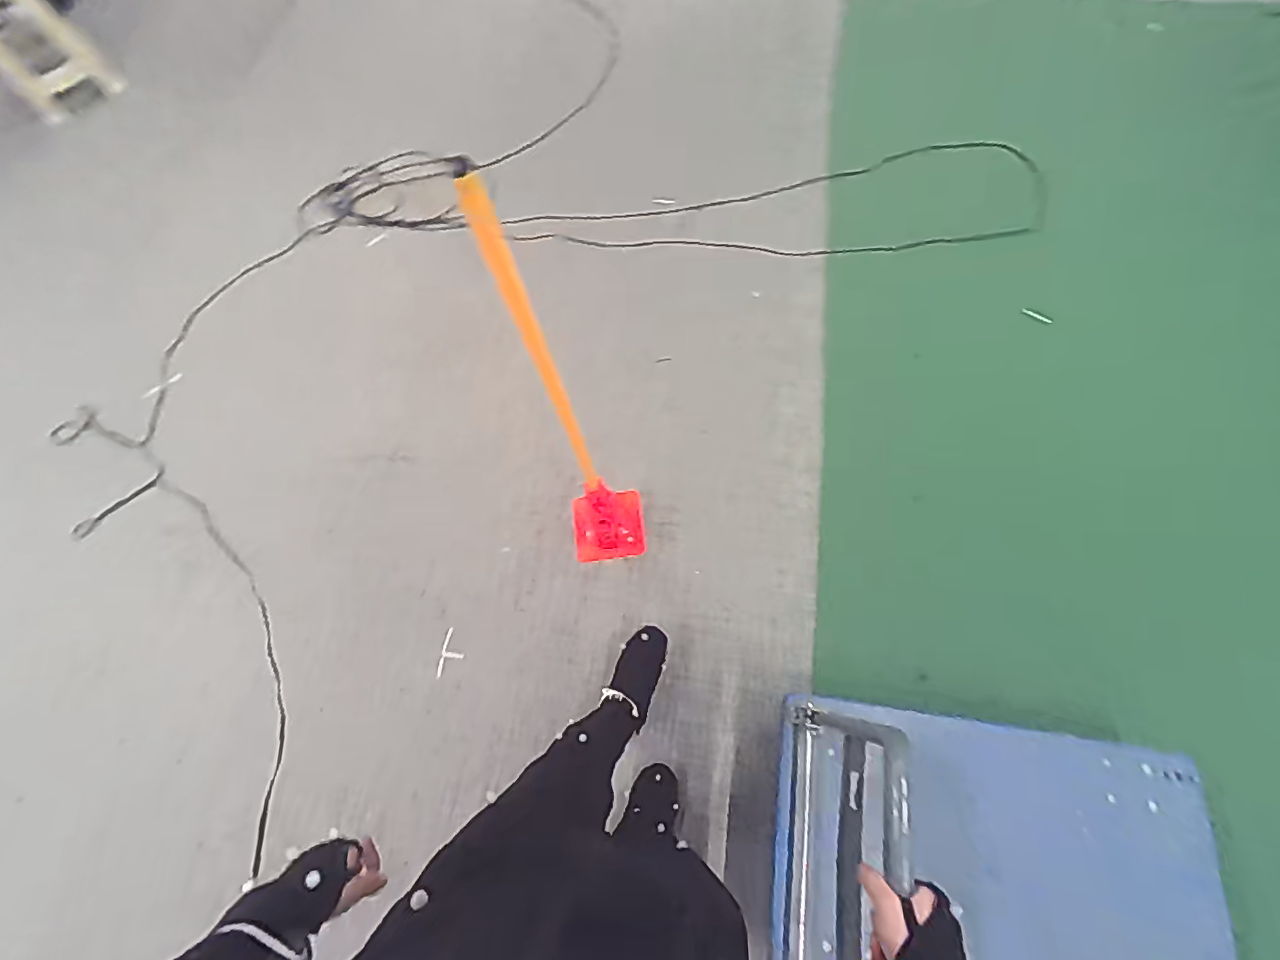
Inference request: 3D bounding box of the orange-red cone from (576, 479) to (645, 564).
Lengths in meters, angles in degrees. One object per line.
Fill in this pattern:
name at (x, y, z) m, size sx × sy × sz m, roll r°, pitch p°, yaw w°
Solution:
orange-red cone at (-0.095, 0.079, 1.421) m, size 0.198 × 0.360 × 0.199 m, roll -6°, pitch 67°, yaw 0°
